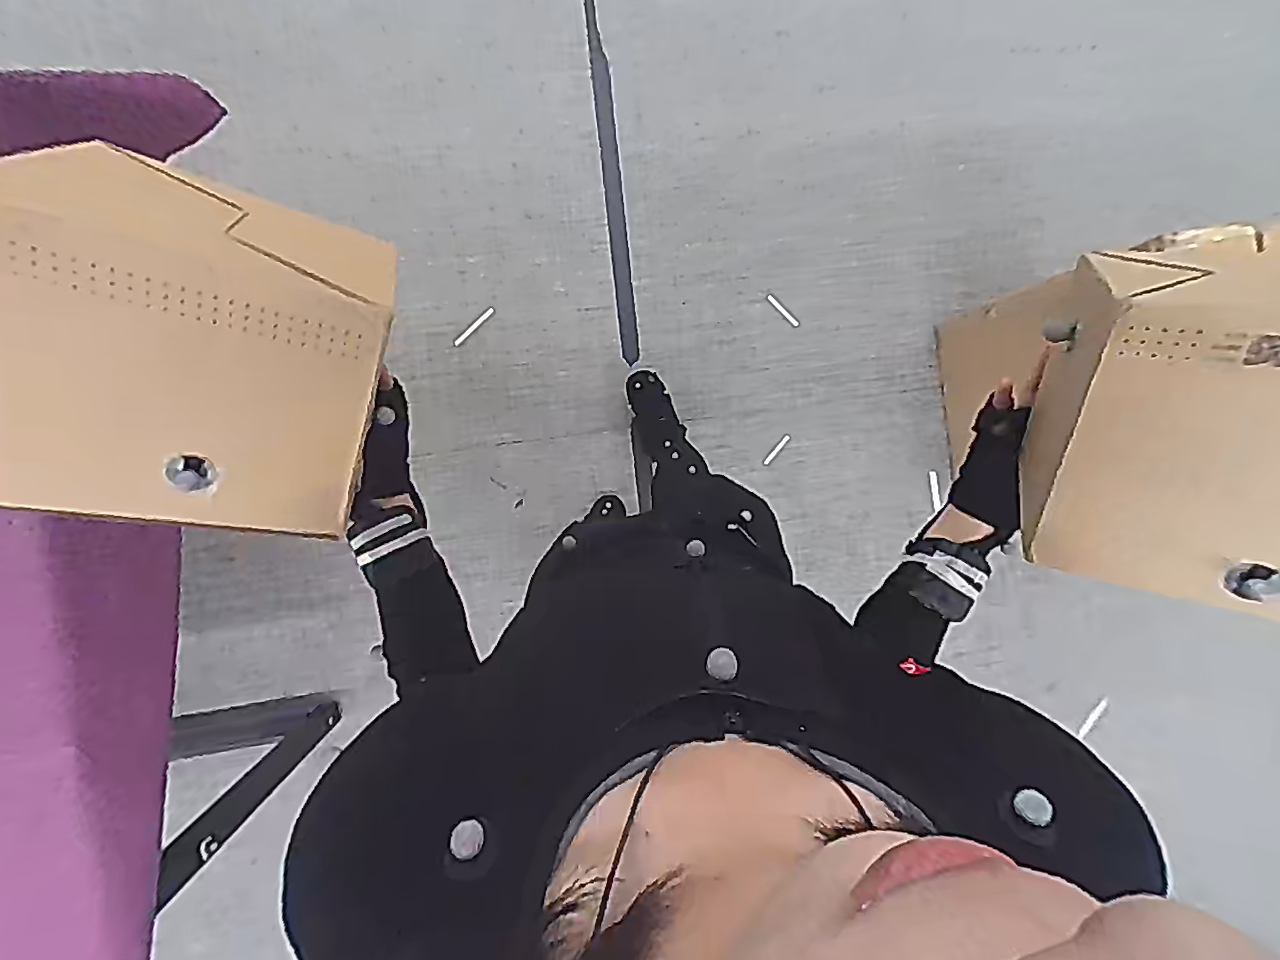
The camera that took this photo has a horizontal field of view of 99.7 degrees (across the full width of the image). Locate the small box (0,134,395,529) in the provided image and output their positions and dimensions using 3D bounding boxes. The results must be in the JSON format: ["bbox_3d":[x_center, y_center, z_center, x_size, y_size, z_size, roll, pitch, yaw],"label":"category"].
[{"bbox_3d":[-0.263,-0.092,0.349,0.179,0.168,0.176,11,117,-28],"label":"small box"}]

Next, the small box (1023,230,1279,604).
[{"bbox_3d":[0.351,-0.051,0.326,0.168,0.179,0.176,13,124,29],"label":"small box"}]
